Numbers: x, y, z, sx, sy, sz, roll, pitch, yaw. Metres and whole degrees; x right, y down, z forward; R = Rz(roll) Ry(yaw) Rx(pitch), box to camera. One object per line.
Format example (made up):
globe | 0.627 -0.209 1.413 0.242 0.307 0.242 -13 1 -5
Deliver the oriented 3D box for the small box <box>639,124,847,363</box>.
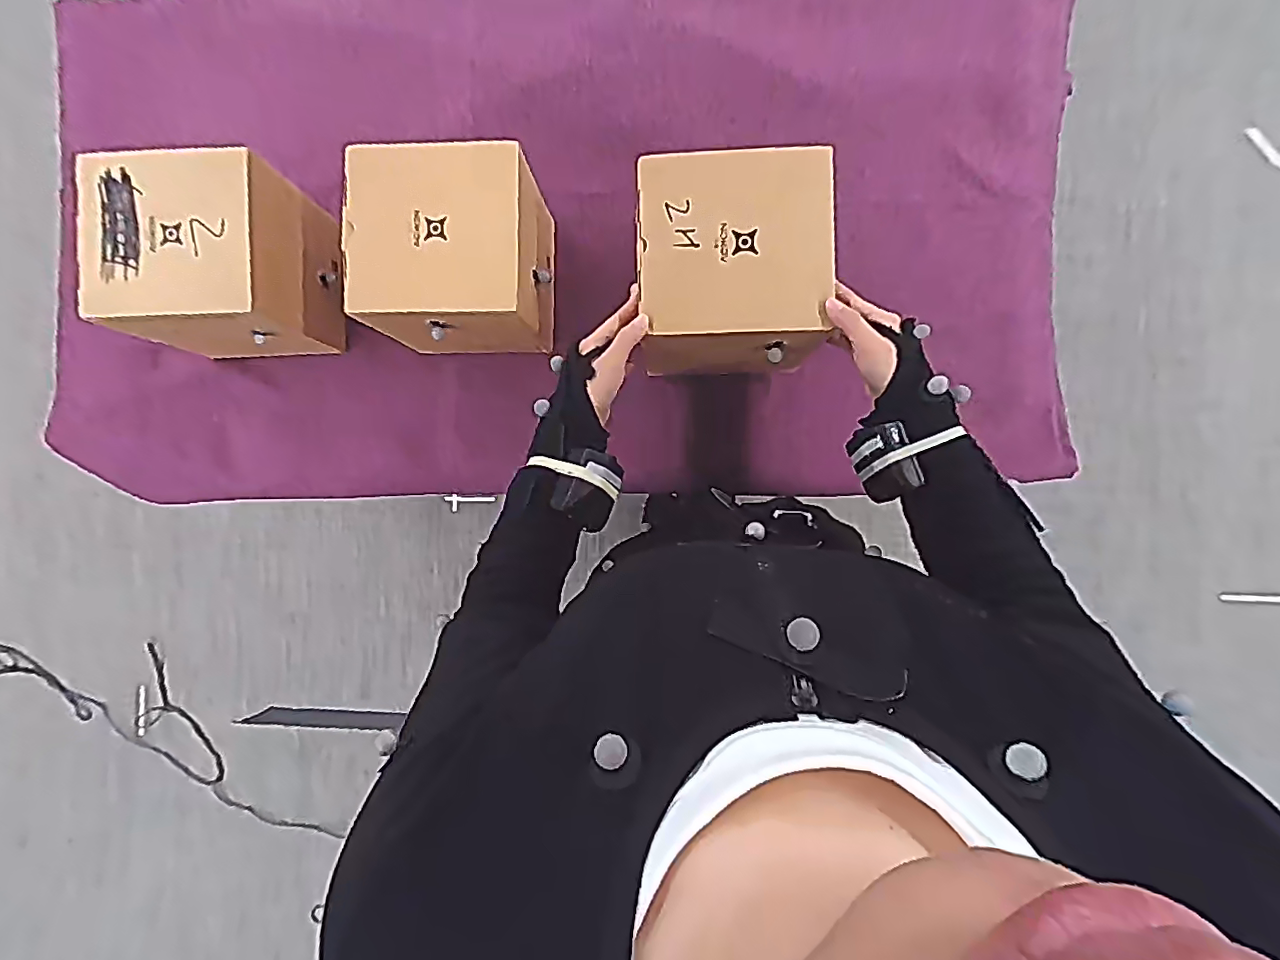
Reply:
small box | 0.092 -0.217 0.538 0.179 0.176 0.168 0 89 4

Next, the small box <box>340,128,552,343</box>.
small box | -0.197 -0.252 0.594 0.179 0.176 0.168 1 91 4
